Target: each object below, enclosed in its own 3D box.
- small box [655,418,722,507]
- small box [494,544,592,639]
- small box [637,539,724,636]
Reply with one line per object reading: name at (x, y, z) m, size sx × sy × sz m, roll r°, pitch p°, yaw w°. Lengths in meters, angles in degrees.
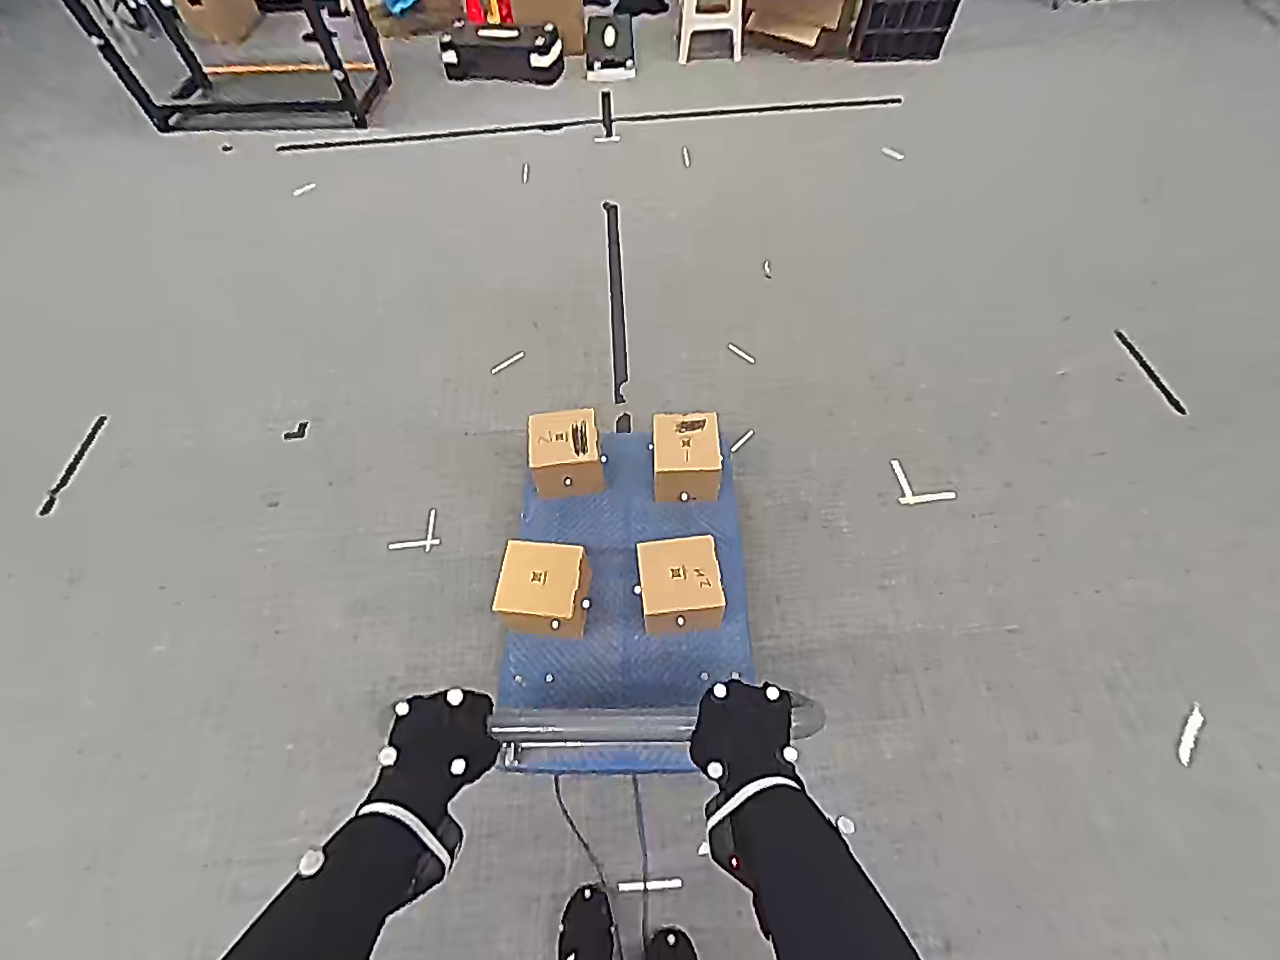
small box at (0.122, -0.045, 1.432) m, size 0.168 × 0.176 × 0.179 m, roll -1°, pitch 59°, yaw 2°
small box at (-0.216, 0.262, 1.257) m, size 0.179 × 0.176 × 0.168 m, roll 4°, pitch 58°, yaw 4°
small box at (0.090, 0.254, 1.248) m, size 0.179 × 0.176 × 0.168 m, roll -6°, pitch 58°, yaw -1°
